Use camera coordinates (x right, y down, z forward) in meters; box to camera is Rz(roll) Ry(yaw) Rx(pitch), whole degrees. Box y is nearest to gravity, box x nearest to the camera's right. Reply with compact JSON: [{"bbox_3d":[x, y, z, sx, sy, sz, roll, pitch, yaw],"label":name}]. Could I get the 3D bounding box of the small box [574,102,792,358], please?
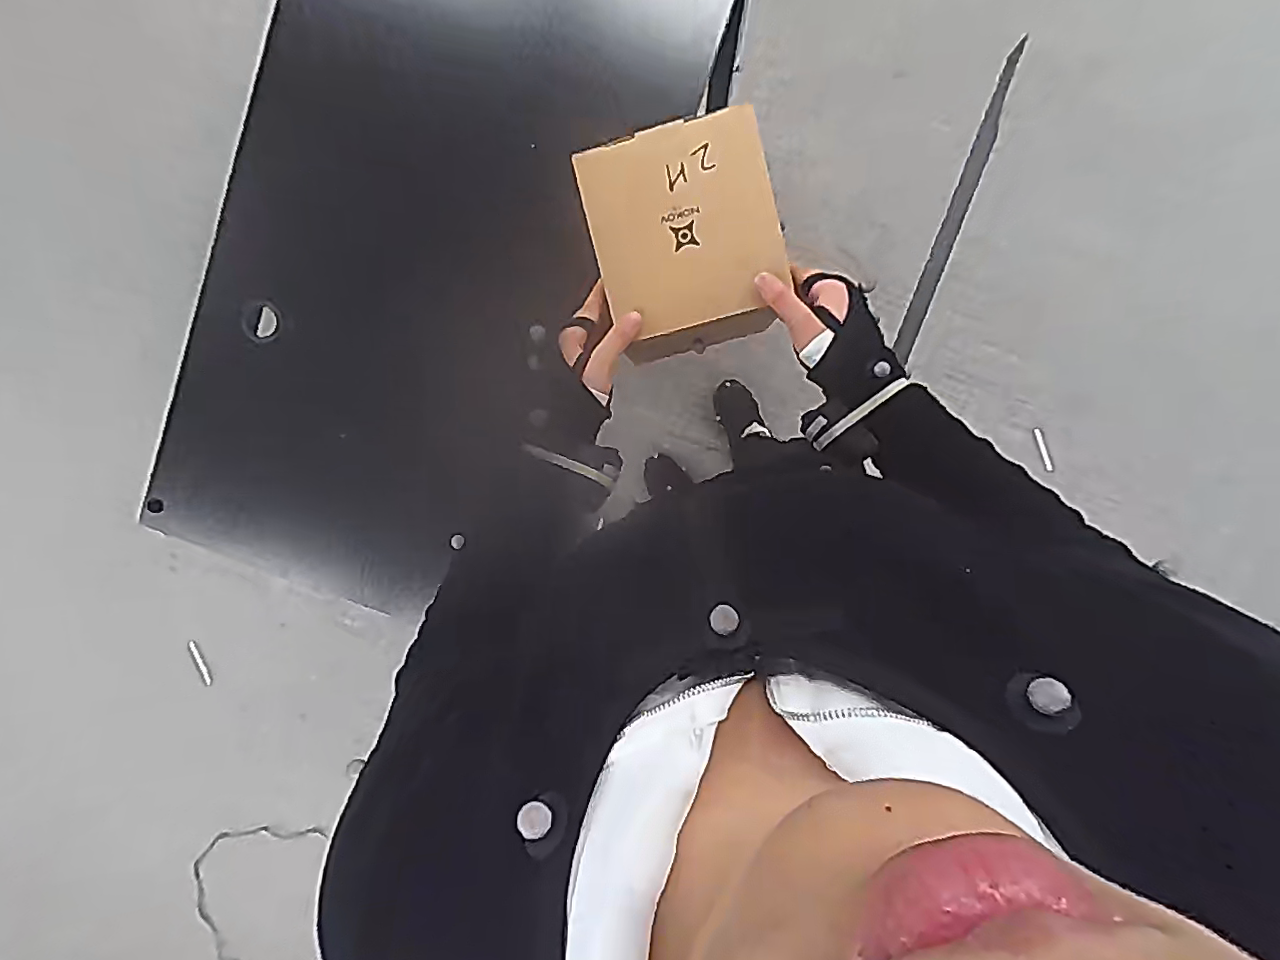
[{"bbox_3d":[0.046,-0.233,0.560,0.168,0.176,0.179,-14,93,6],"label":"small box"}]
